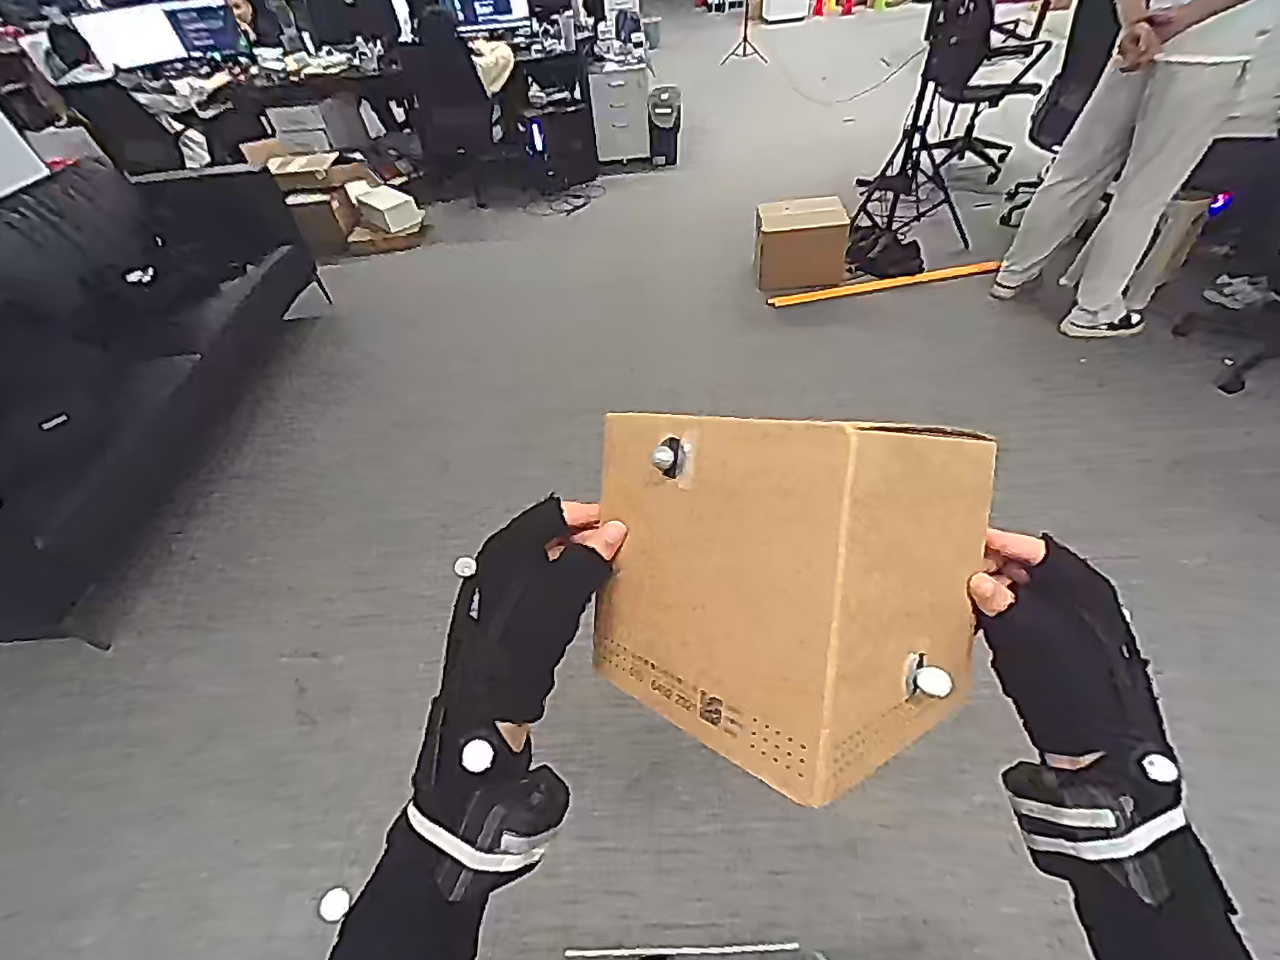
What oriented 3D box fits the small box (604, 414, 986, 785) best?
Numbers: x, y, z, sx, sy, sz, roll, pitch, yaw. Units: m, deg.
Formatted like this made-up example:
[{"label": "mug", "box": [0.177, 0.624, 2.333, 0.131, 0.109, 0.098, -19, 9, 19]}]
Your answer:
[{"label": "small box", "box": [0.091, 0.050, 0.346, 0.179, 0.176, 0.168, -1, 6, -40]}]
